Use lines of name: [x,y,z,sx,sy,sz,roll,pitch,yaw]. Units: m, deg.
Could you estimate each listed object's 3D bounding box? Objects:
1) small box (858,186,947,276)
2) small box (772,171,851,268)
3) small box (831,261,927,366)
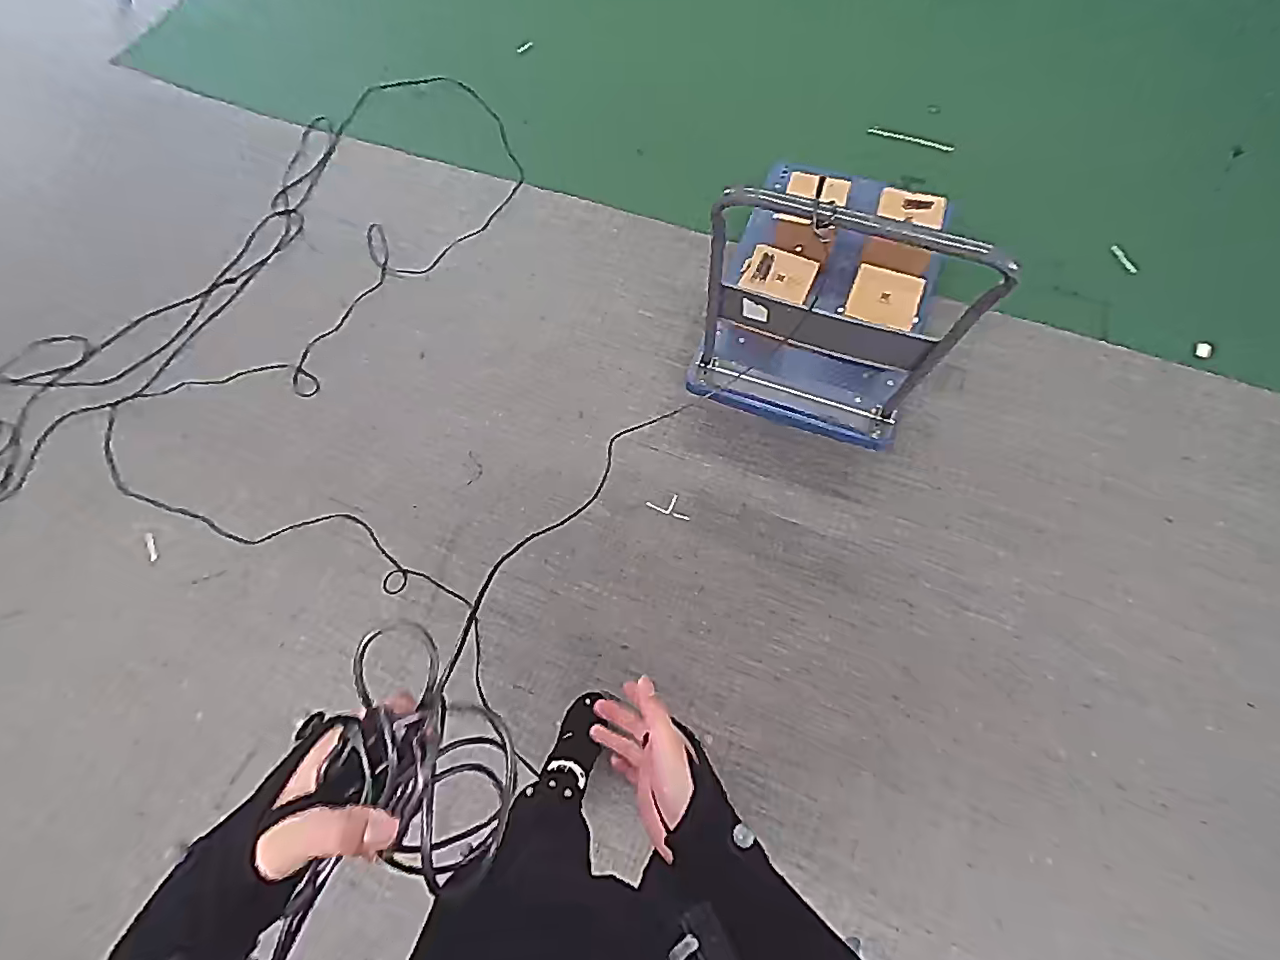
small box: [0.724,-0.676,1.509,0.168,0.176,0.179,15,74,10]
small box: [0.485,-0.741,1.551,0.168,0.176,0.179,16,73,9]
small box: [0.626,-0.436,1.434,0.168,0.176,0.179,20,74,11]
